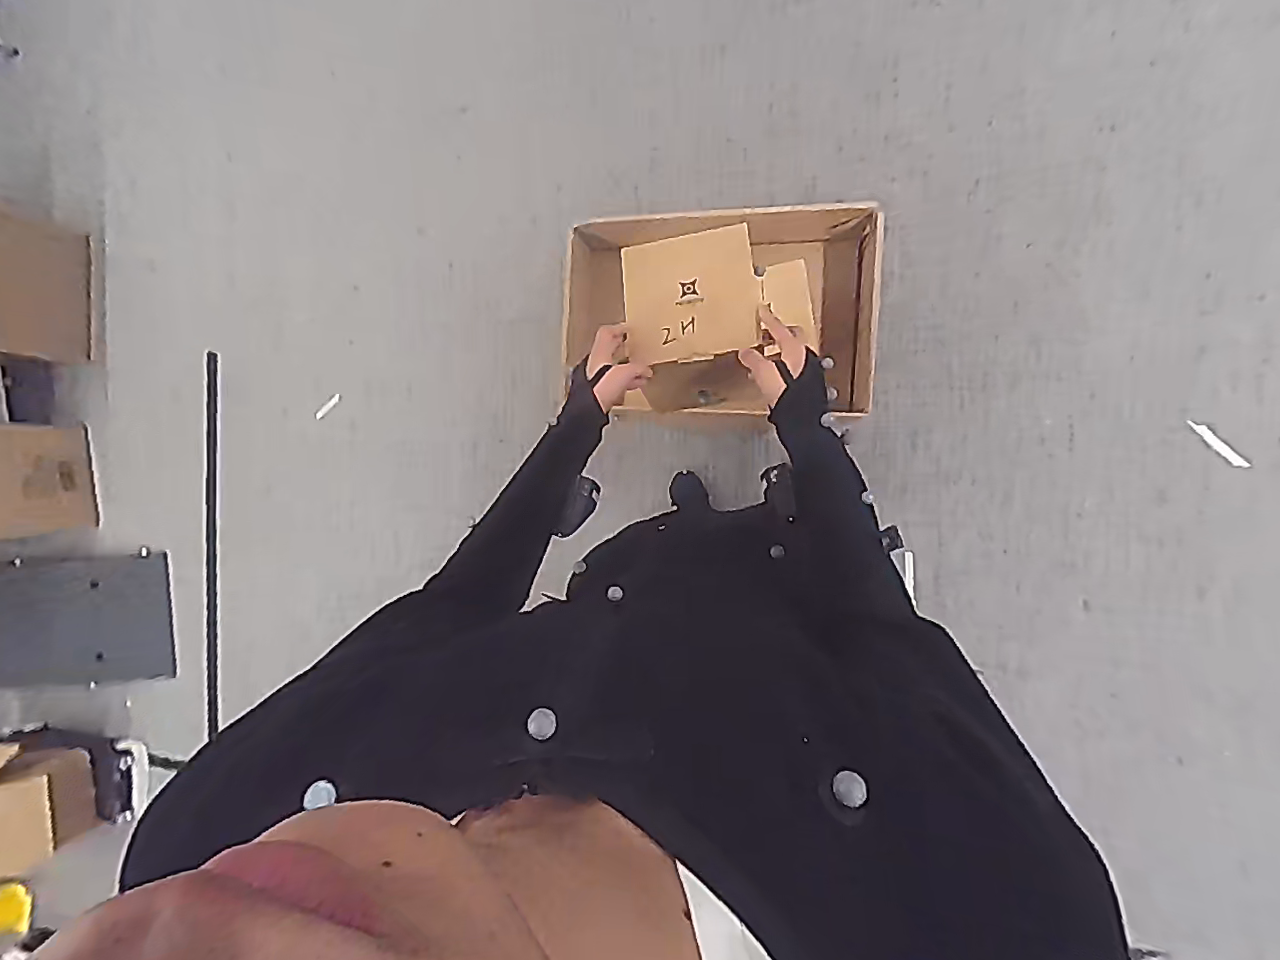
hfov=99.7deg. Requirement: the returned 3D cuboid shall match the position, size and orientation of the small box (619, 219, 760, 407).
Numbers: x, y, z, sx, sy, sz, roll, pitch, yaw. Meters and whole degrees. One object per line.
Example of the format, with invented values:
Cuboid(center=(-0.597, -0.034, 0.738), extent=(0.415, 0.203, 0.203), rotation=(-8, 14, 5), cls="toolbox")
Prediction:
Cuboid(center=(0.073, -0.219, 0.750), extent=(0.168, 0.176, 0.179), rotation=(-7, 77, 11), cls="small box")
